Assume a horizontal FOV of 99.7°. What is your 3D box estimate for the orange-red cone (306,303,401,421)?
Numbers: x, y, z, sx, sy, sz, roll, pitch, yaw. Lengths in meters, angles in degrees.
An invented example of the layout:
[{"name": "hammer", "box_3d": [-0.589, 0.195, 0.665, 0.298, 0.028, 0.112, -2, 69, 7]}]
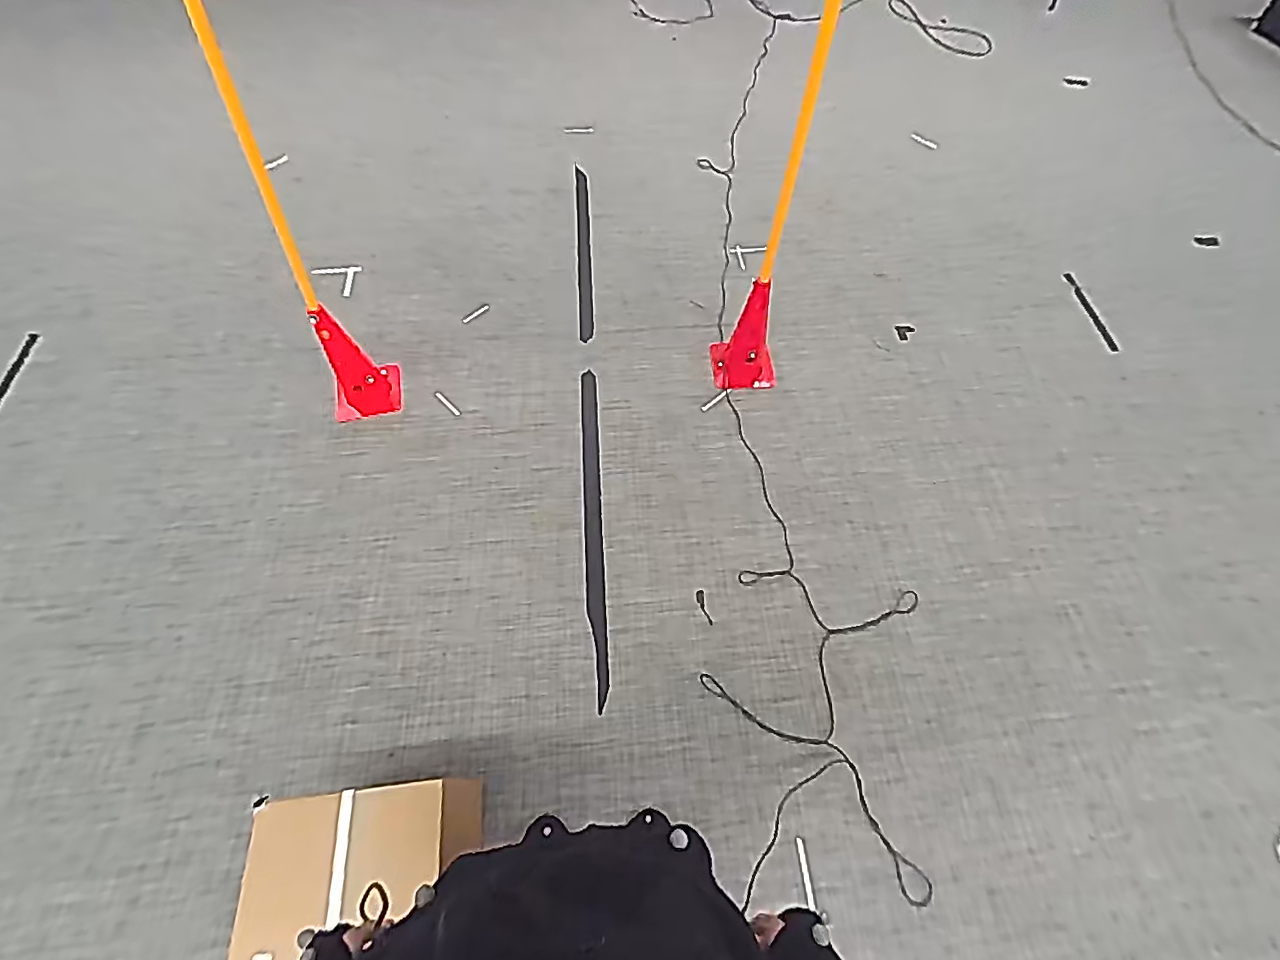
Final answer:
[{"name": "orange-red cone", "box_3d": [-0.858, -0.361, 1.563, 0.199, 0.360, 0.198, -12, 61, -7]}]
